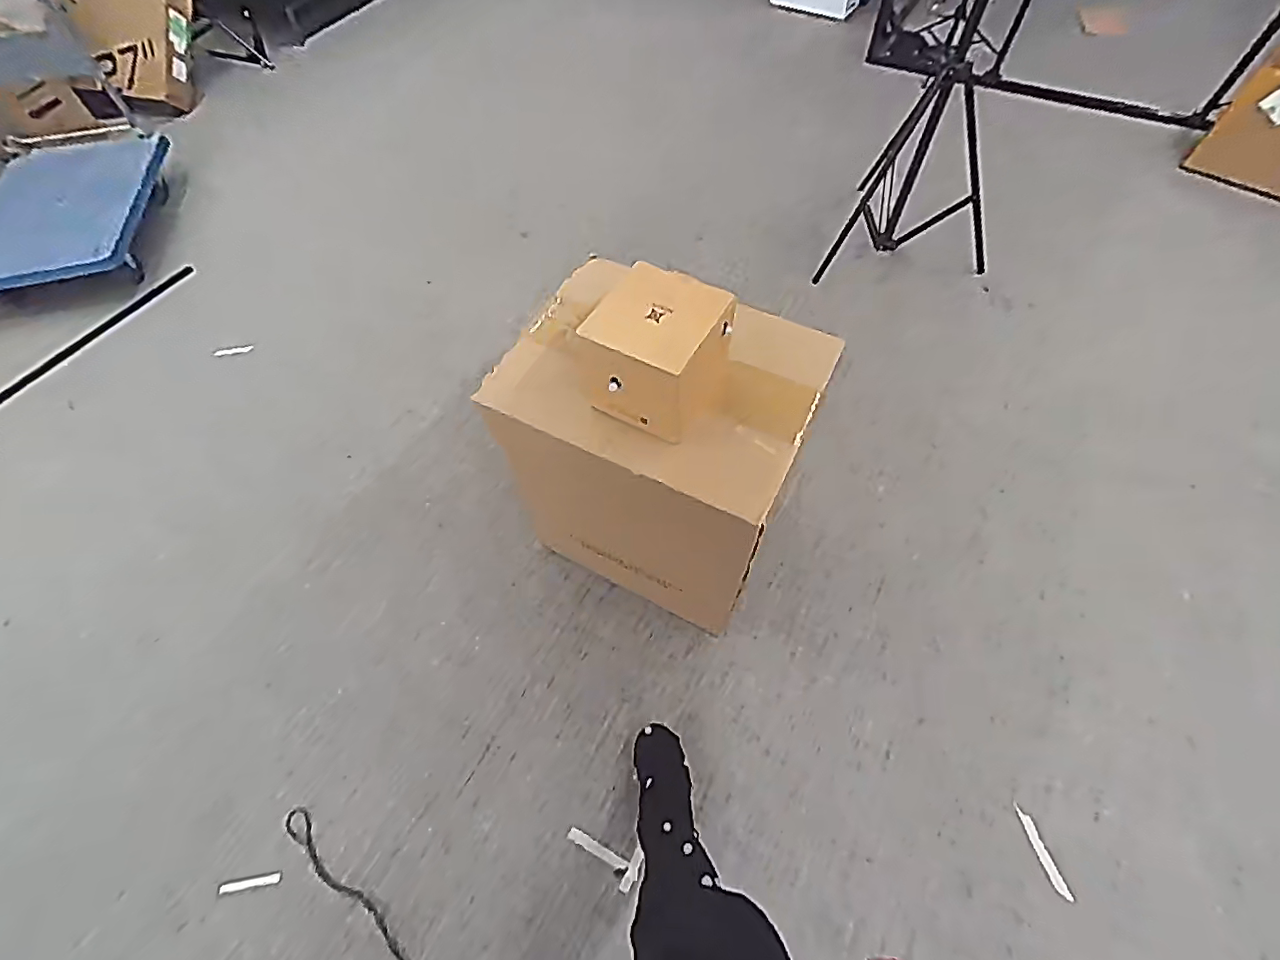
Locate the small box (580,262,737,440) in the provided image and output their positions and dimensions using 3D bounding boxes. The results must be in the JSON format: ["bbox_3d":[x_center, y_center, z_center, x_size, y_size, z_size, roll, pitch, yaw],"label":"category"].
[{"bbox_3d":[0.032,-0.191,0.826,0.168,0.176,0.179,26,63,17],"label":"small box"}]
